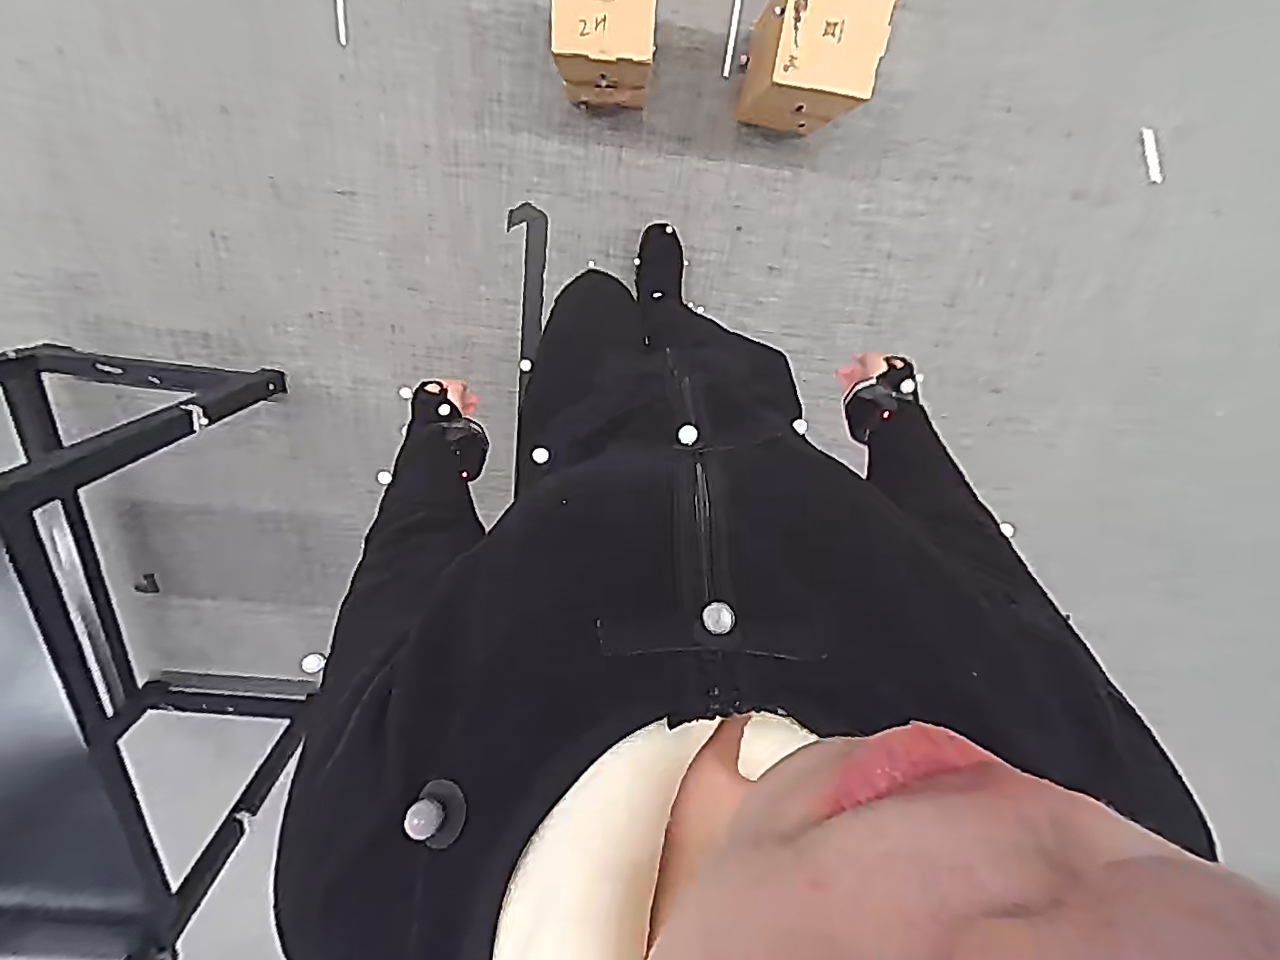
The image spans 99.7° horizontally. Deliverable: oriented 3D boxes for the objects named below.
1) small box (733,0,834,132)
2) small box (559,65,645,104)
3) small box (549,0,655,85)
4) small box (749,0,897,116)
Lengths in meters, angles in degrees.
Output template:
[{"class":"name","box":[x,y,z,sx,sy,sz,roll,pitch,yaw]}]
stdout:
[{"class":"small box","box":[0.303,-0.821,1.091,0.179,0.176,0.168,9,114,-6]},{"class":"small box","box":[-0.069,-0.856,1.058,0.168,0.176,0.179,1,114,-3]},{"class":"small box","box":[-0.061,-0.794,0.905,0.168,0.176,0.179,3,115,-4]},{"class":"small box","box":[0.309,-0.755,0.942,0.179,0.176,0.168,7,114,-6]}]
